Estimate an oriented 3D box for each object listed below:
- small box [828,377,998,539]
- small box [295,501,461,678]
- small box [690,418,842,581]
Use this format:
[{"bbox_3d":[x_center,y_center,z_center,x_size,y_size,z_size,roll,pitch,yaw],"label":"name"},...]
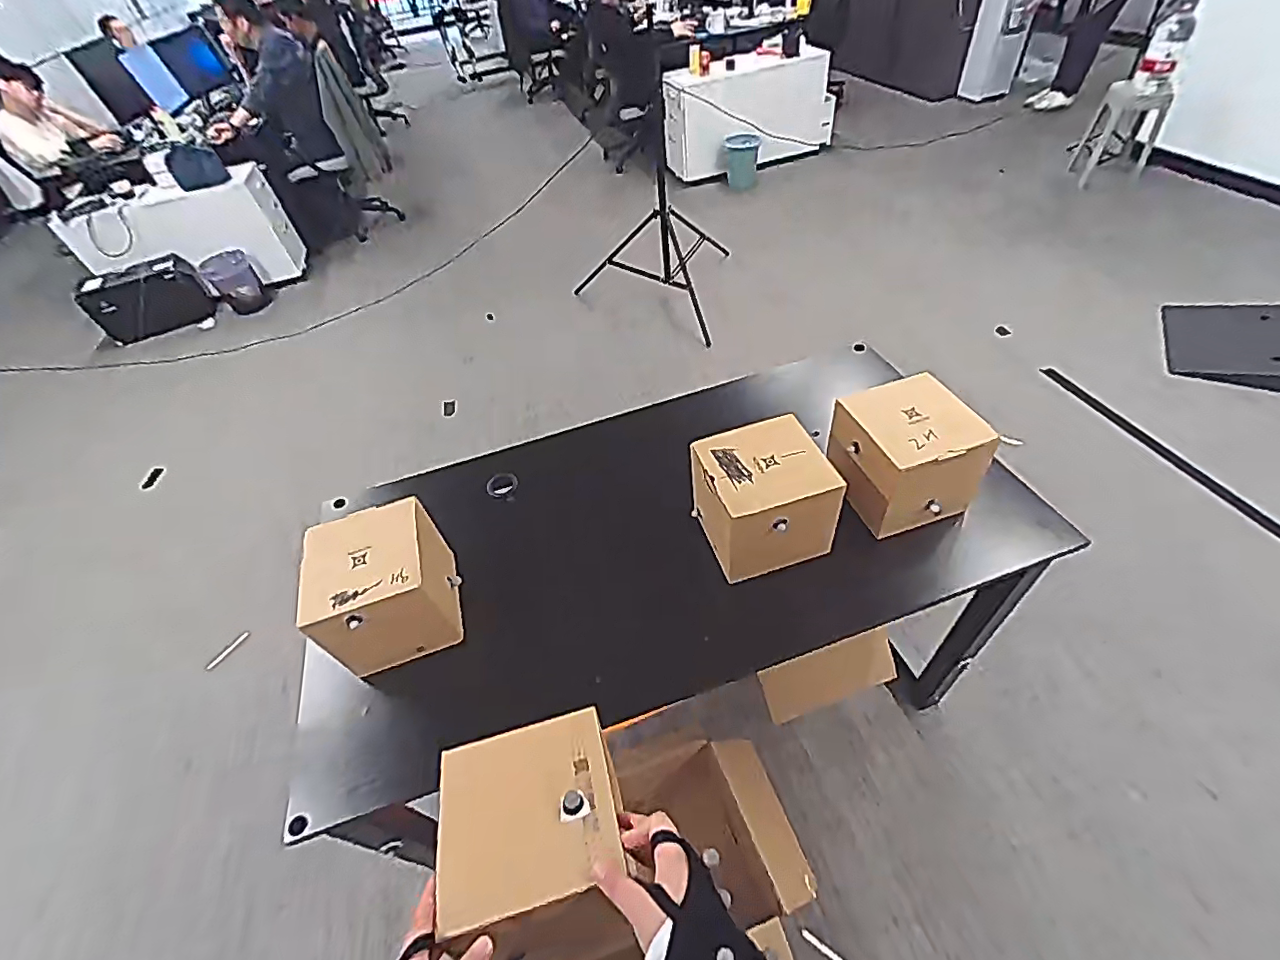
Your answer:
[{"bbox_3d":[0.424,-0.035,0.879,0.168,0.176,0.179,-17,47,-5],"label":"small box"},{"bbox_3d":[-0.385,0.166,0.822,0.168,0.176,0.179,-18,48,-8],"label":"small box"},{"bbox_3d":[0.190,0.035,0.854,0.179,0.176,0.168,-16,48,-7],"label":"small box"}]
